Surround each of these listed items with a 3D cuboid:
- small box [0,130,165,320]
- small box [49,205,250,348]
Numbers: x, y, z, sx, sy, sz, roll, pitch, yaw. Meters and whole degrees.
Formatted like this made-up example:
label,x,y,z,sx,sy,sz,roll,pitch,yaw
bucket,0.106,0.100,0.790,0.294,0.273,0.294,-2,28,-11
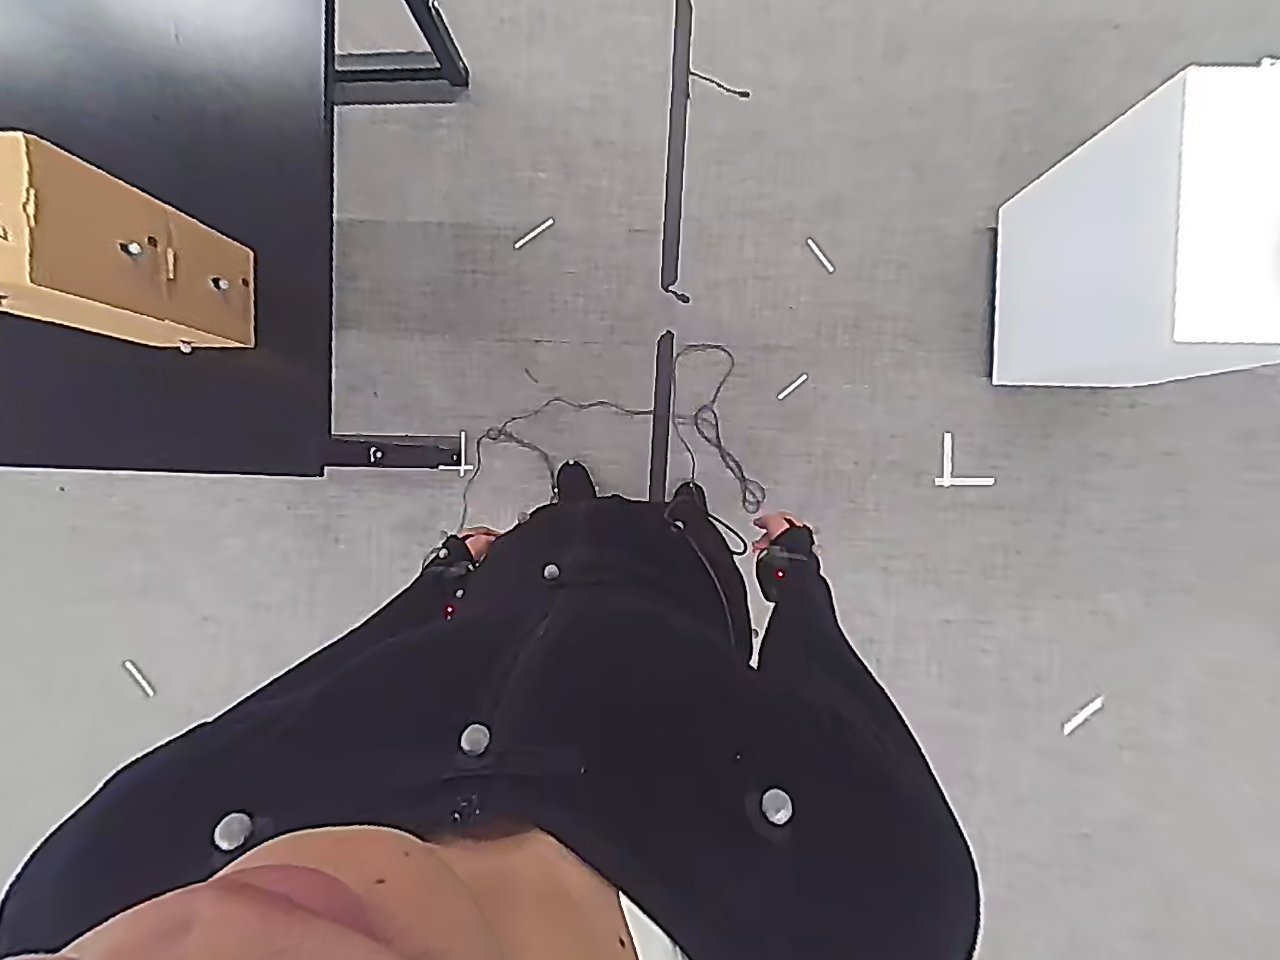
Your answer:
label,x,y,z,sx,sy,sz,roll,pitch,yaw
small box,-0.749,-0.301,0.671,0.179,0.176,0.168,1,92,2
small box,-0.742,-0.305,0.836,0.179,0.176,0.168,0,91,1
